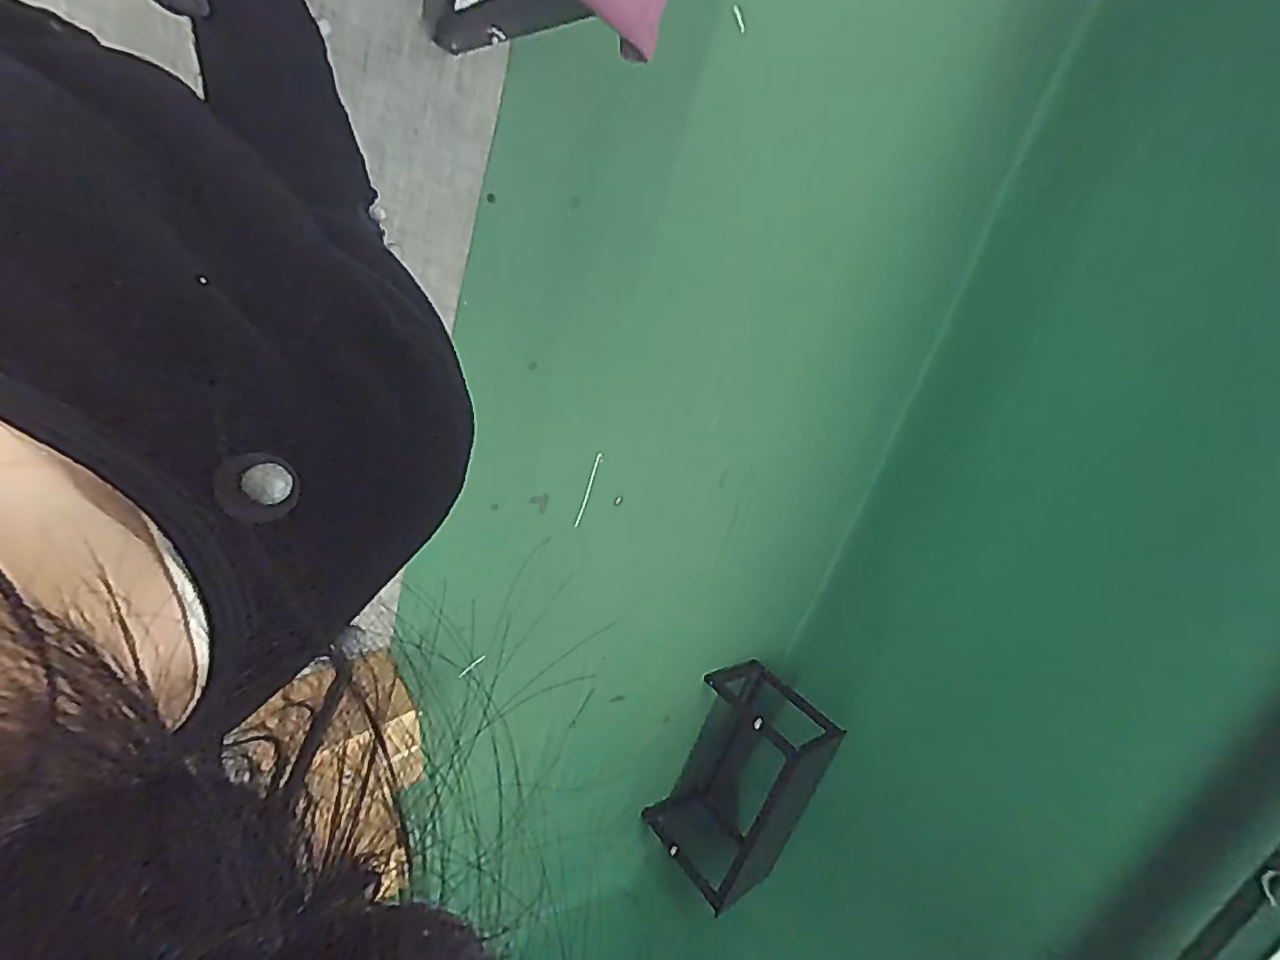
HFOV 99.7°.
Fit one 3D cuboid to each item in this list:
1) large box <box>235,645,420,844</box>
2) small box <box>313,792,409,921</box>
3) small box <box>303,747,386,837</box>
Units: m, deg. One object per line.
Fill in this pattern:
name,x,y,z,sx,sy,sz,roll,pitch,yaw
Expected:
large box,-0.943,0.782,1.657,0.408,0.320,0.320,-16,126,-39
small box,-0.704,0.933,1.360,0.179,0.176,0.168,-7,119,-41
small box,-0.803,0.860,1.466,0.168,0.176,0.179,-8,119,-40
